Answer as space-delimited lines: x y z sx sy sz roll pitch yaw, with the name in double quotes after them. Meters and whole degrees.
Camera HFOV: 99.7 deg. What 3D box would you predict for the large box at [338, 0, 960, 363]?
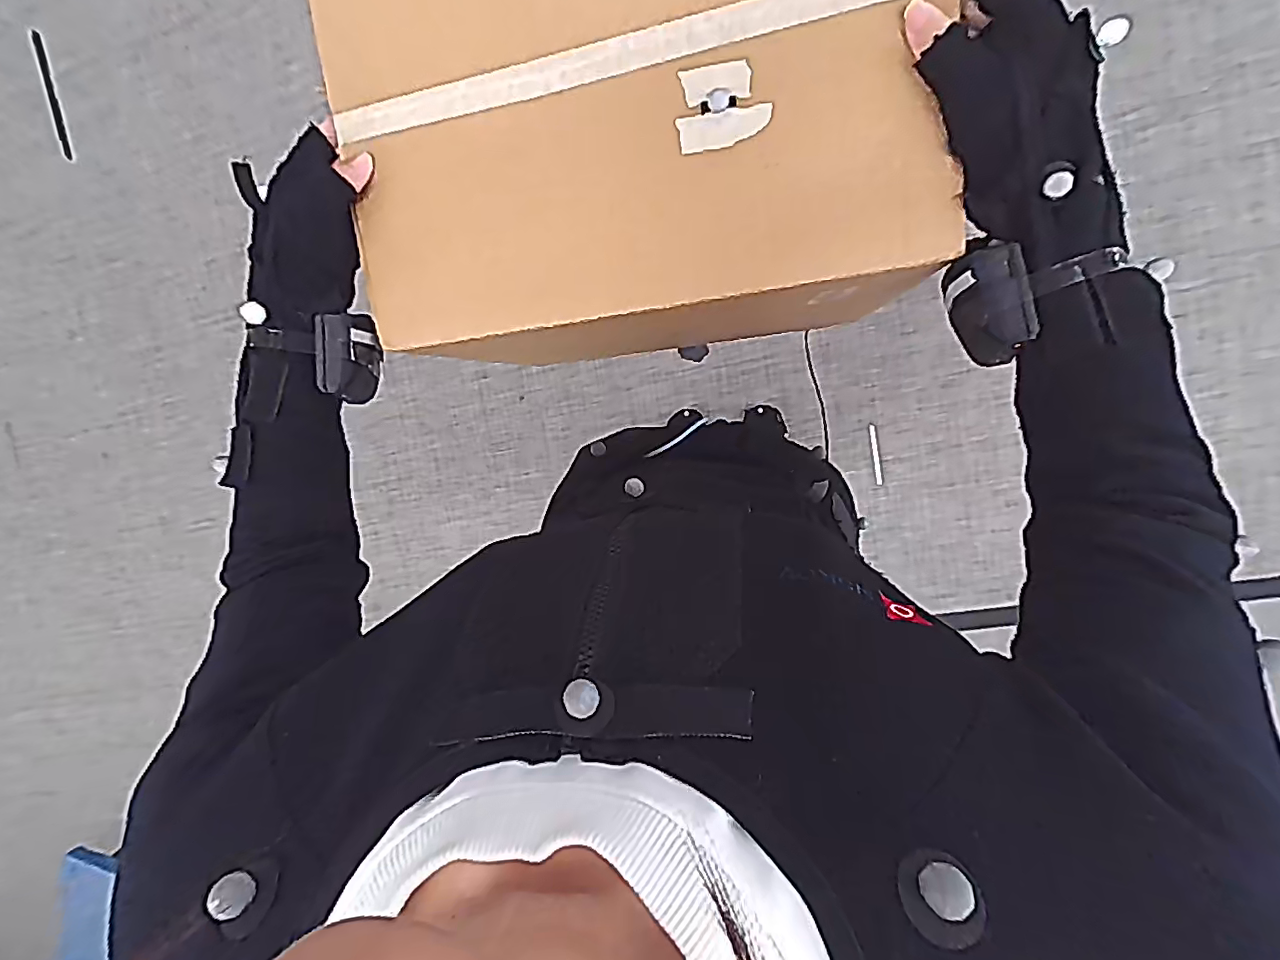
0.013 -0.301 0.504 0.408 0.320 0.320 -6 99 11 "large box"
